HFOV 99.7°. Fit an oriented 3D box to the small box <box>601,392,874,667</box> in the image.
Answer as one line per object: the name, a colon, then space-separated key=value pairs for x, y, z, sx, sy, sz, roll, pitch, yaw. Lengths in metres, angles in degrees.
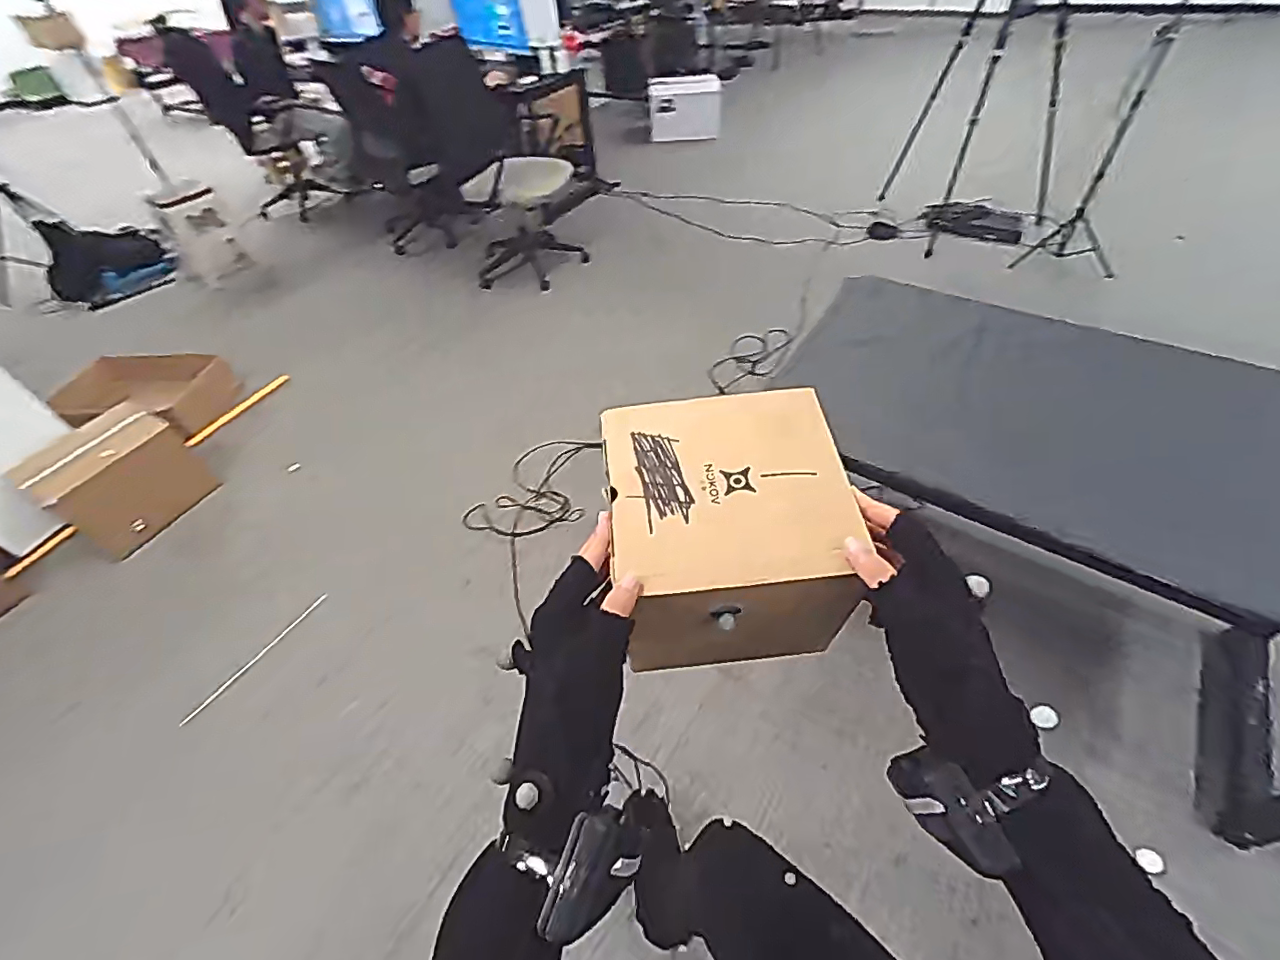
small box: x=0.066 y=0.049 z=0.458 sx=0.179 sy=0.176 sz=0.168 roll=-6 pitch=55 yaw=0
